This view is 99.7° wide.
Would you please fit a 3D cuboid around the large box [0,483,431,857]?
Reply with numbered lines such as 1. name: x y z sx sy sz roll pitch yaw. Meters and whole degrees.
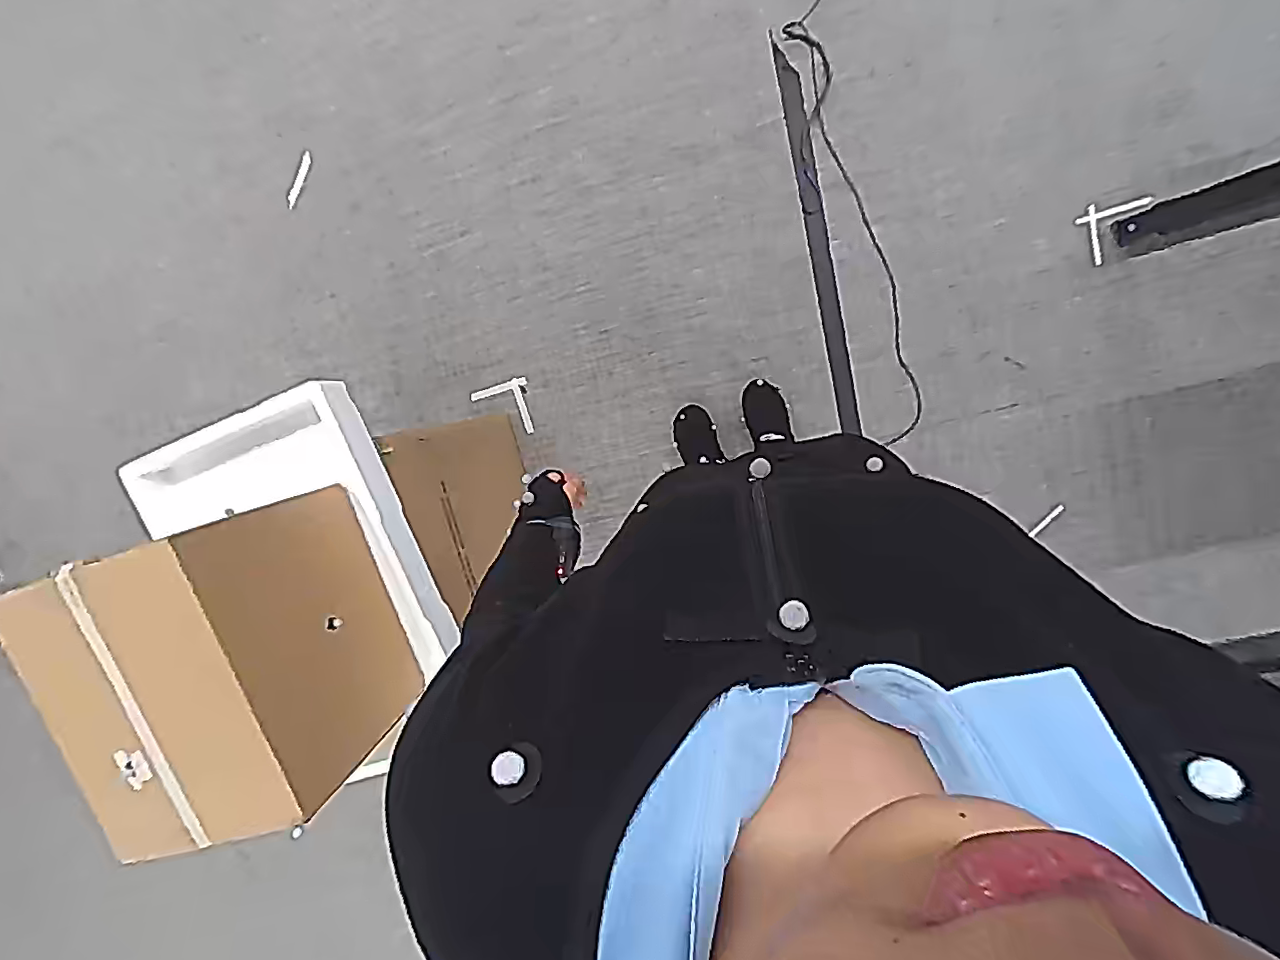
1. large box: -0.599 0.262 0.832 0.320 0.320 0.408 -18 100 12
